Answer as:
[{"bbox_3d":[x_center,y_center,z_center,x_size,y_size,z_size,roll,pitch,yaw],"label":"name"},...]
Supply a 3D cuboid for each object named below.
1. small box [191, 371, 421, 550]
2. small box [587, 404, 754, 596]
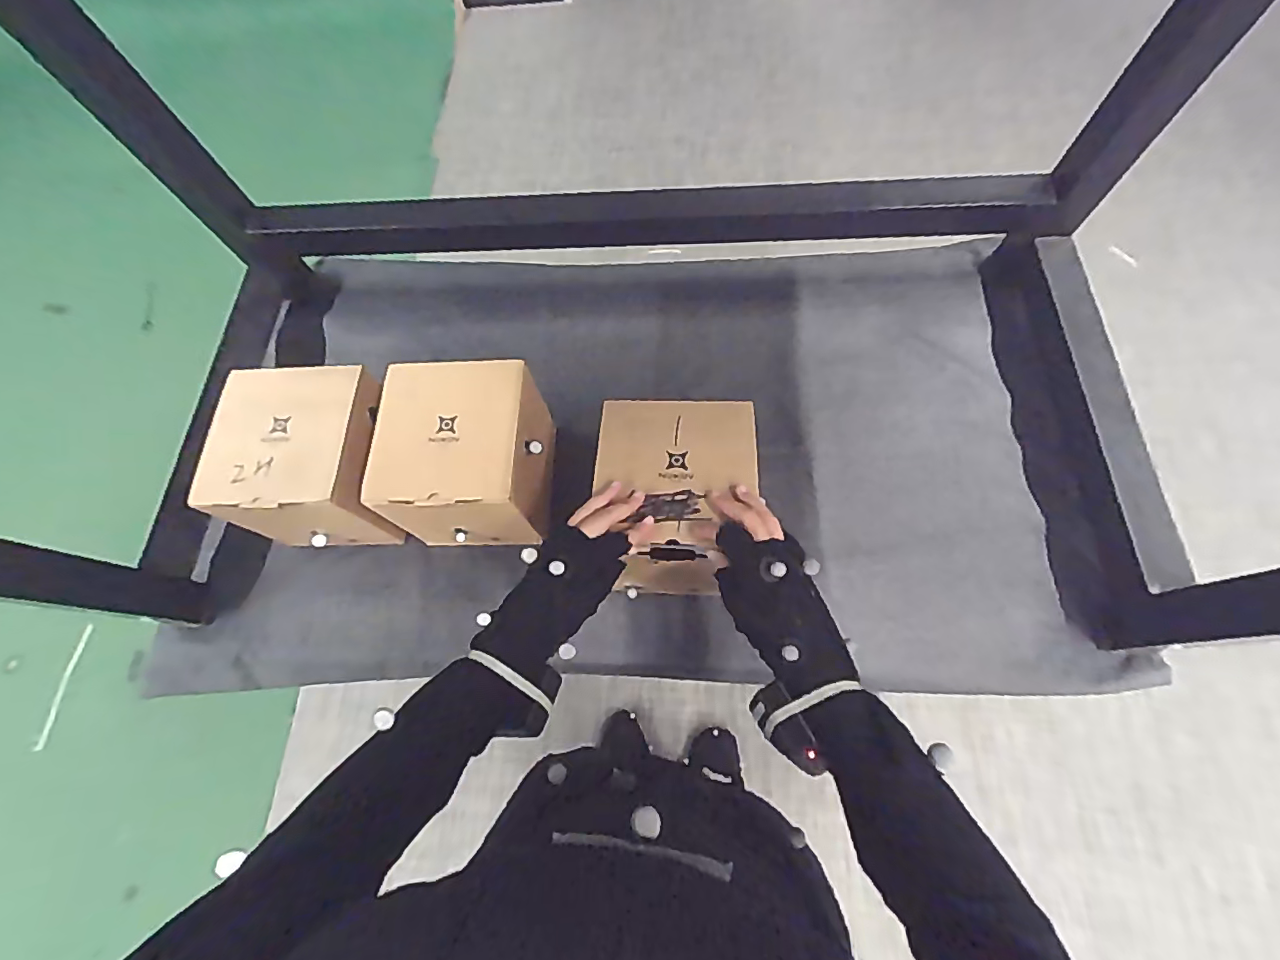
[{"bbox_3d":[-0.400,-0.018,0.687,0.168,0.176,0.179,-2,67,5],"label":"small box"},{"bbox_3d":[0.041,0.031,0.626,0.168,0.176,0.179,2,65,5],"label":"small box"}]
